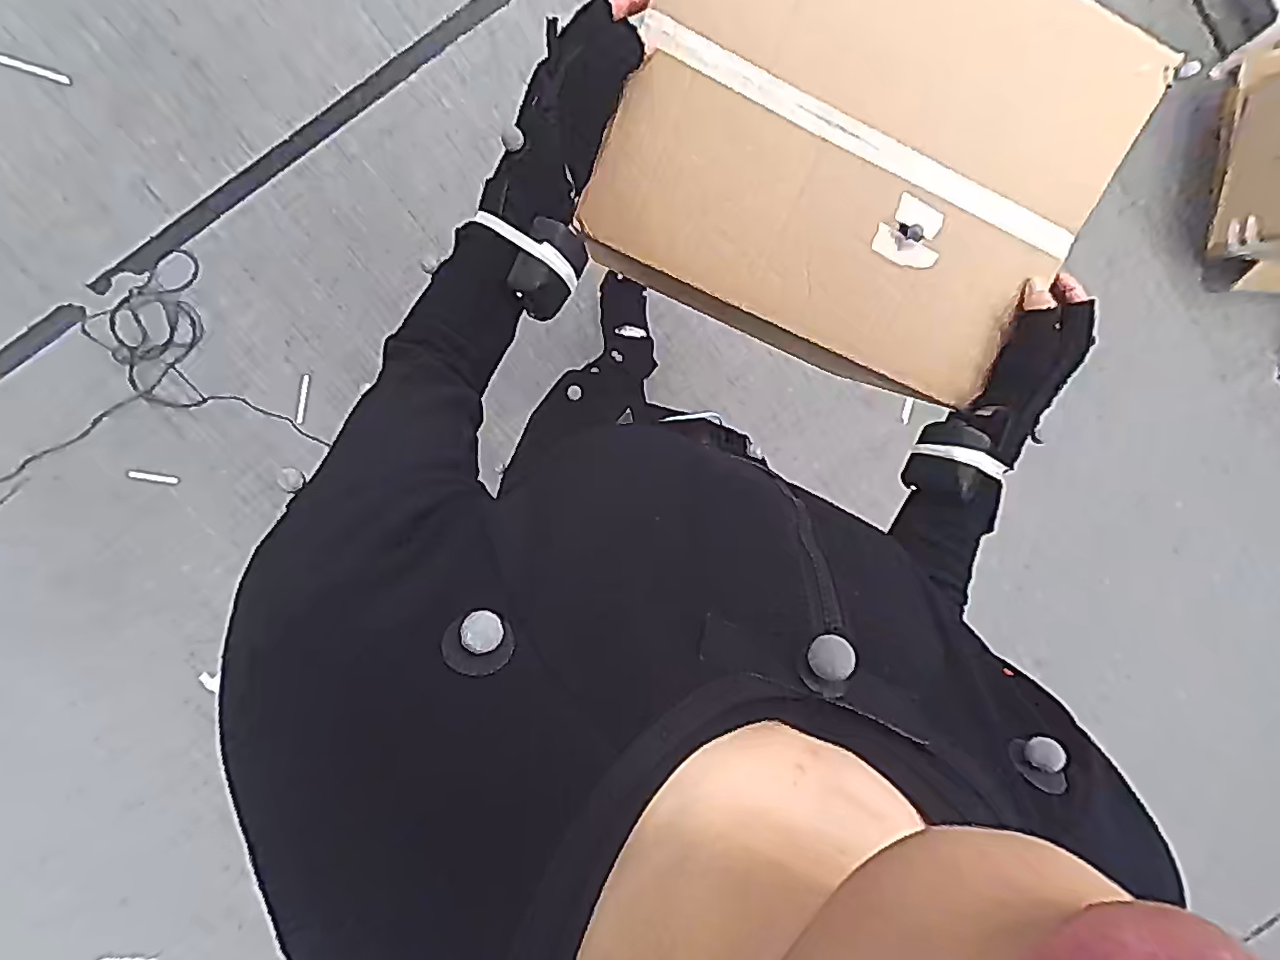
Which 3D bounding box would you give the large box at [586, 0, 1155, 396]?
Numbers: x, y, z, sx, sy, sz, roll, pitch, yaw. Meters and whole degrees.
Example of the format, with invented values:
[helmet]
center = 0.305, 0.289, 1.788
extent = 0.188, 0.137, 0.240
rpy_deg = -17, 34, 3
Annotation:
[large box]
center = 0.183, -0.330, 0.600
extent = 0.408, 0.320, 0.320
rpy_deg = 22, 106, -9
